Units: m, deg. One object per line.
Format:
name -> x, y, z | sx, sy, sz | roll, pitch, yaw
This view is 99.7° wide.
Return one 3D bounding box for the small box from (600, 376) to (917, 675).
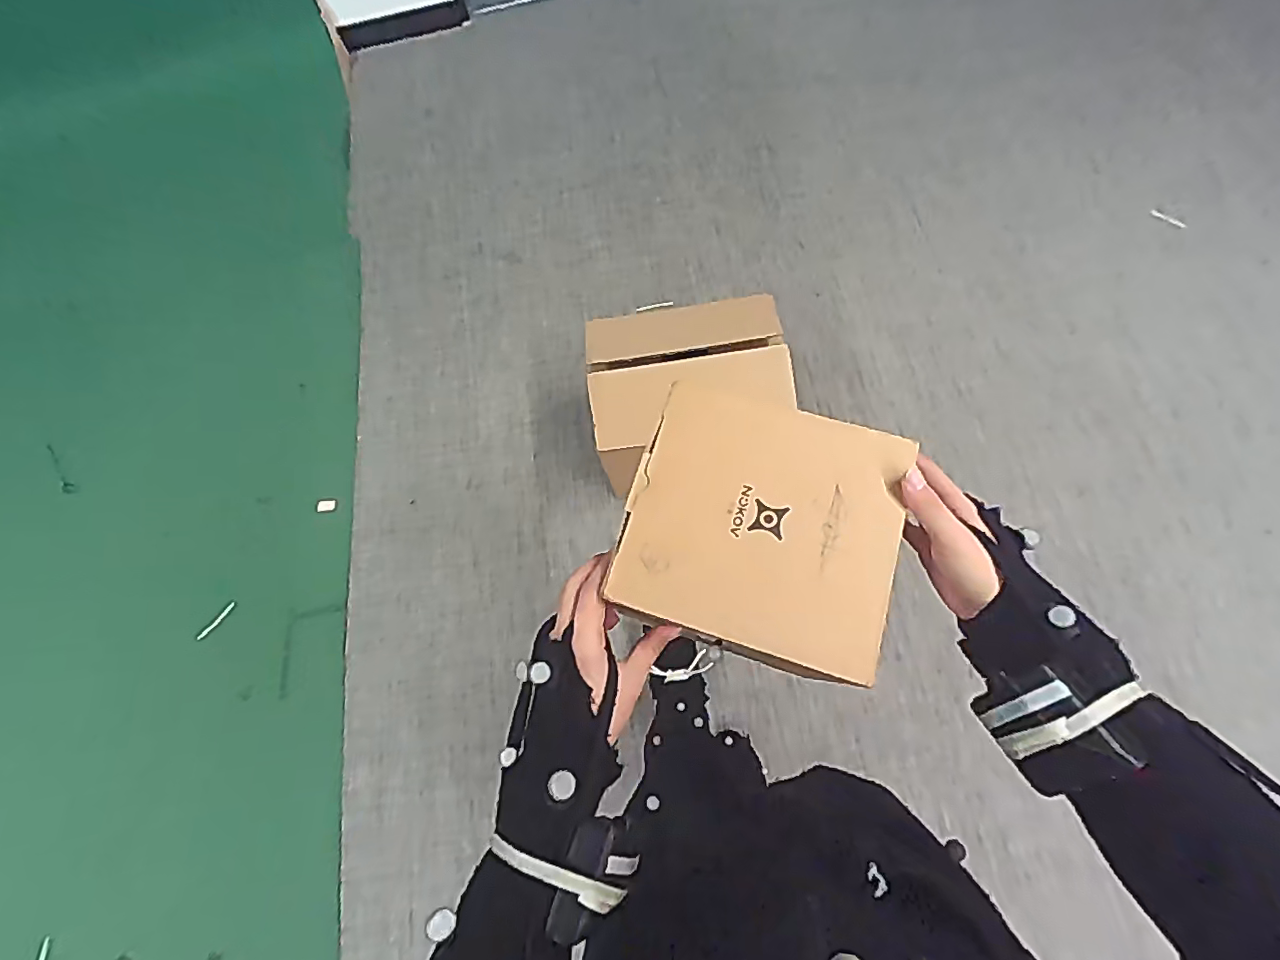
small box -> 0.085, 0.045, 0.431 | 0.179, 0.176, 0.168 | 16, 75, 8
